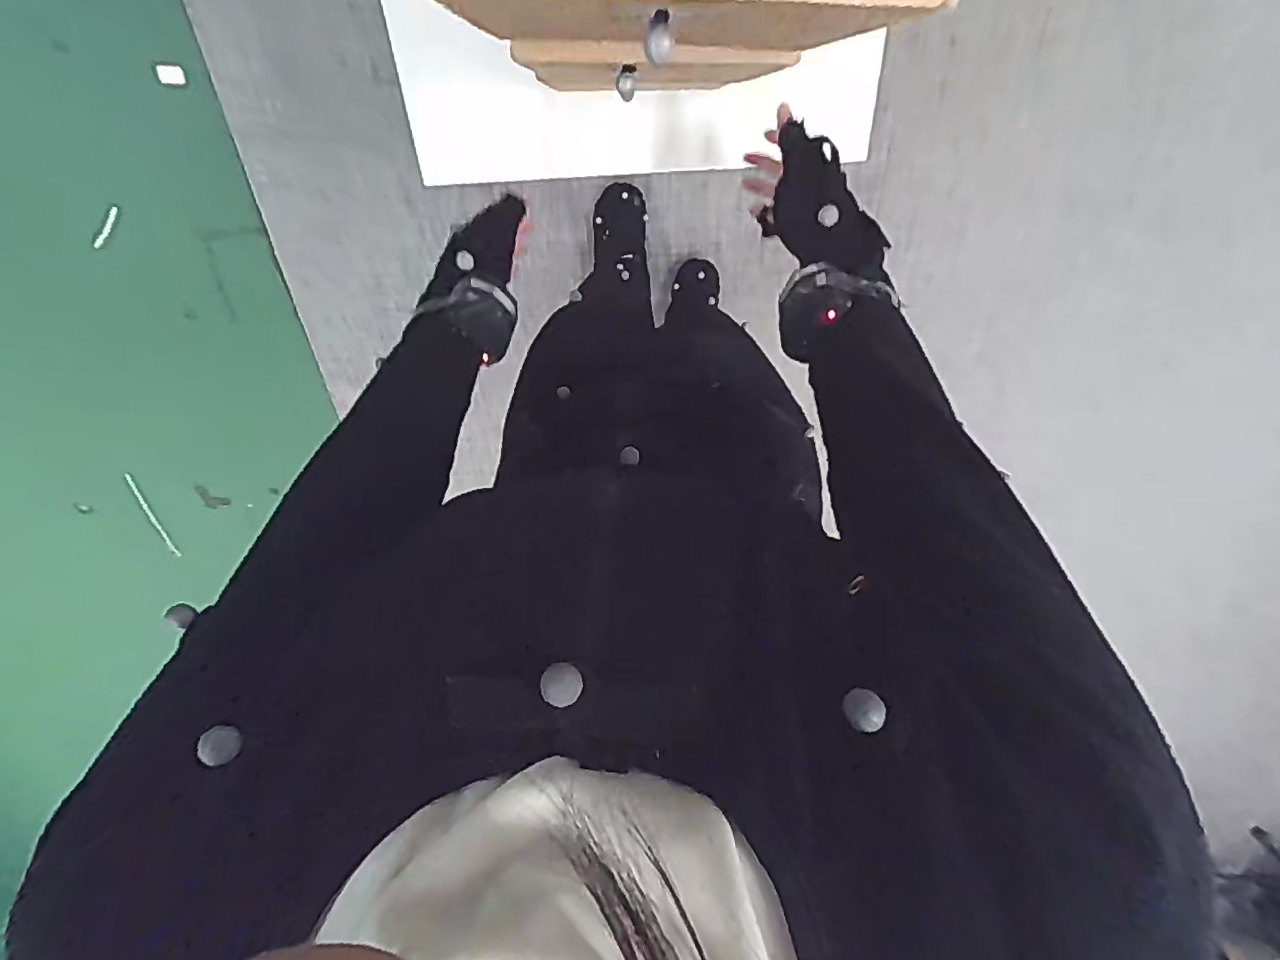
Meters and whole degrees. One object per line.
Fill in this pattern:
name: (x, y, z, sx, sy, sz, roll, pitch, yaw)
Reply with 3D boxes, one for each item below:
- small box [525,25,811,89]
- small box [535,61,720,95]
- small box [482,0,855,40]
small box: (0.010, -0.357, 0.334, 0.168, 0.176, 0.179, -3, 123, -1)
small box: (0.001, -0.441, 0.470, 0.179, 0.176, 0.168, -1, 123, -1)
small box: (0.011, -0.271, 0.193, 0.179, 0.176, 0.168, 0, 125, -2)
